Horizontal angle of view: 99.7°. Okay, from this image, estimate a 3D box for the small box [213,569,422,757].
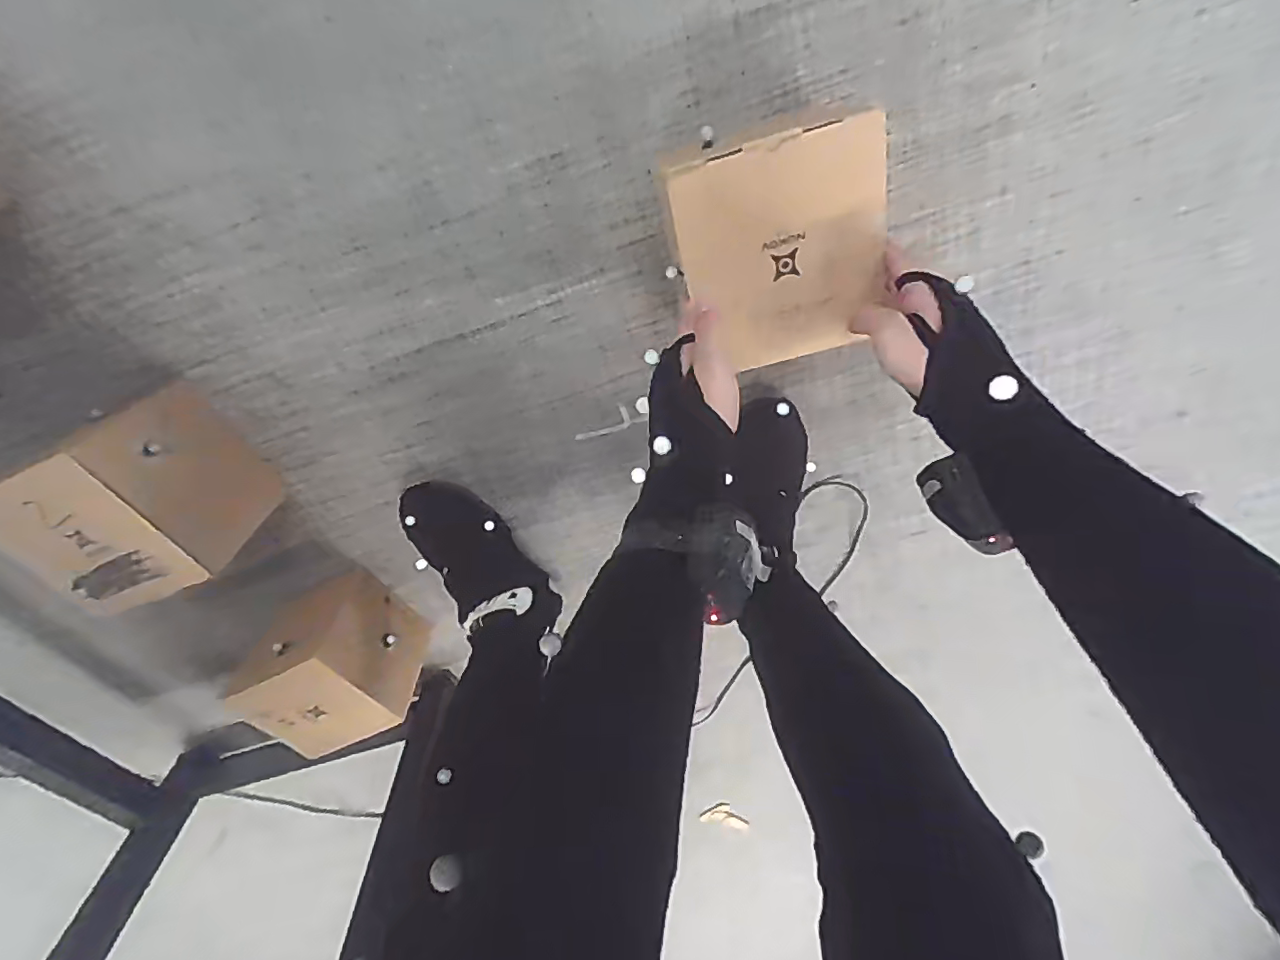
[{"bbox_3d":[-0.441,0.258,0.779,0.179,0.176,0.168,-25,122,12],"label":"small box"}]

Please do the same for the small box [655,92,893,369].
[{"bbox_3d":[0.114,-0.229,0.499,0.168,0.176,0.179,-13,124,5],"label":"small box"}]
